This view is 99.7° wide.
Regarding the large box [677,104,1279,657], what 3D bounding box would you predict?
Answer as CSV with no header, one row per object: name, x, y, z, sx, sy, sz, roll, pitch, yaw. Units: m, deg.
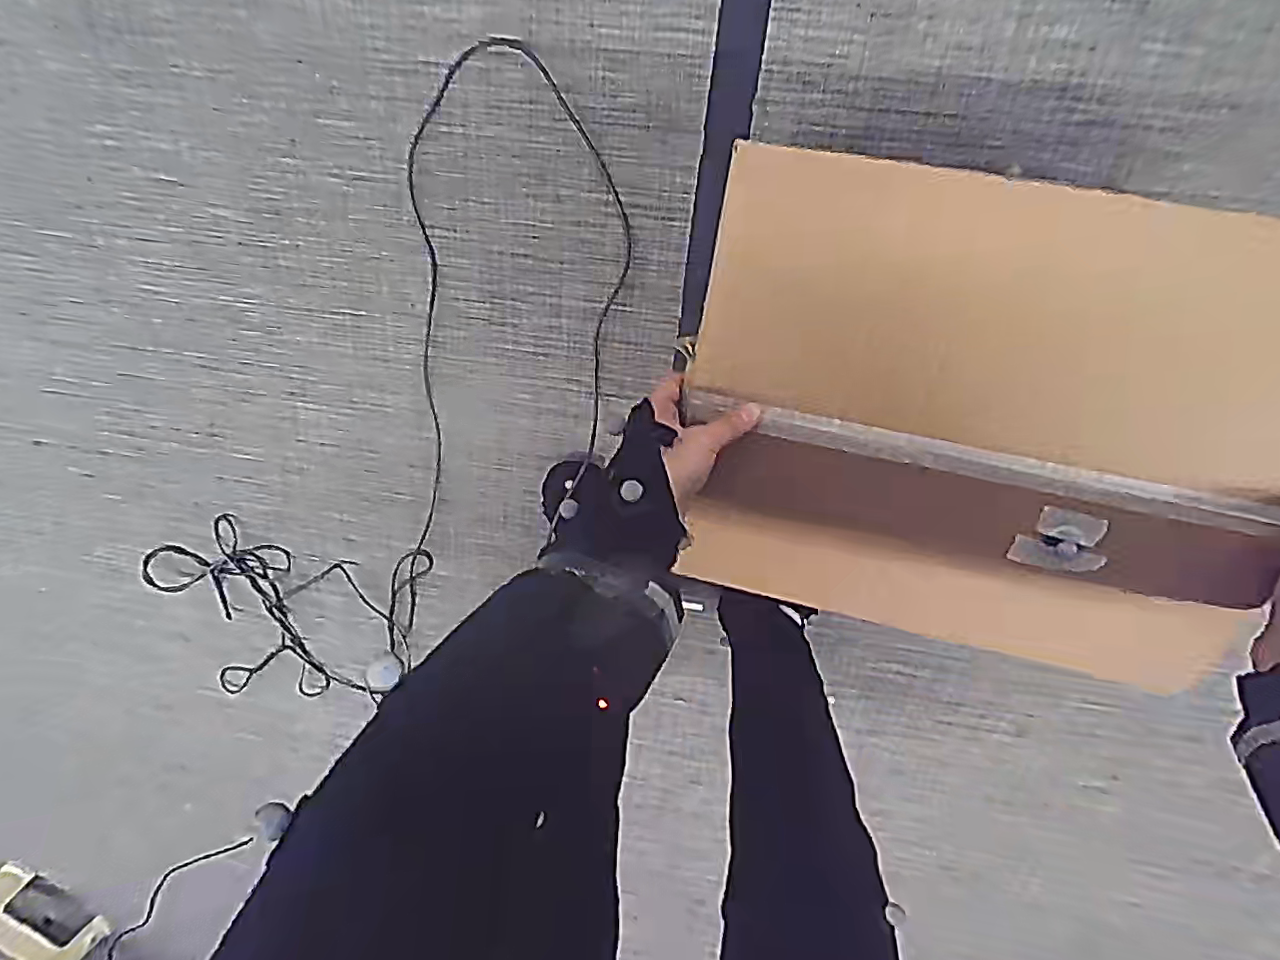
large box,0.266,-0.107,0.477,0.408,0.320,0.320,12,121,7
